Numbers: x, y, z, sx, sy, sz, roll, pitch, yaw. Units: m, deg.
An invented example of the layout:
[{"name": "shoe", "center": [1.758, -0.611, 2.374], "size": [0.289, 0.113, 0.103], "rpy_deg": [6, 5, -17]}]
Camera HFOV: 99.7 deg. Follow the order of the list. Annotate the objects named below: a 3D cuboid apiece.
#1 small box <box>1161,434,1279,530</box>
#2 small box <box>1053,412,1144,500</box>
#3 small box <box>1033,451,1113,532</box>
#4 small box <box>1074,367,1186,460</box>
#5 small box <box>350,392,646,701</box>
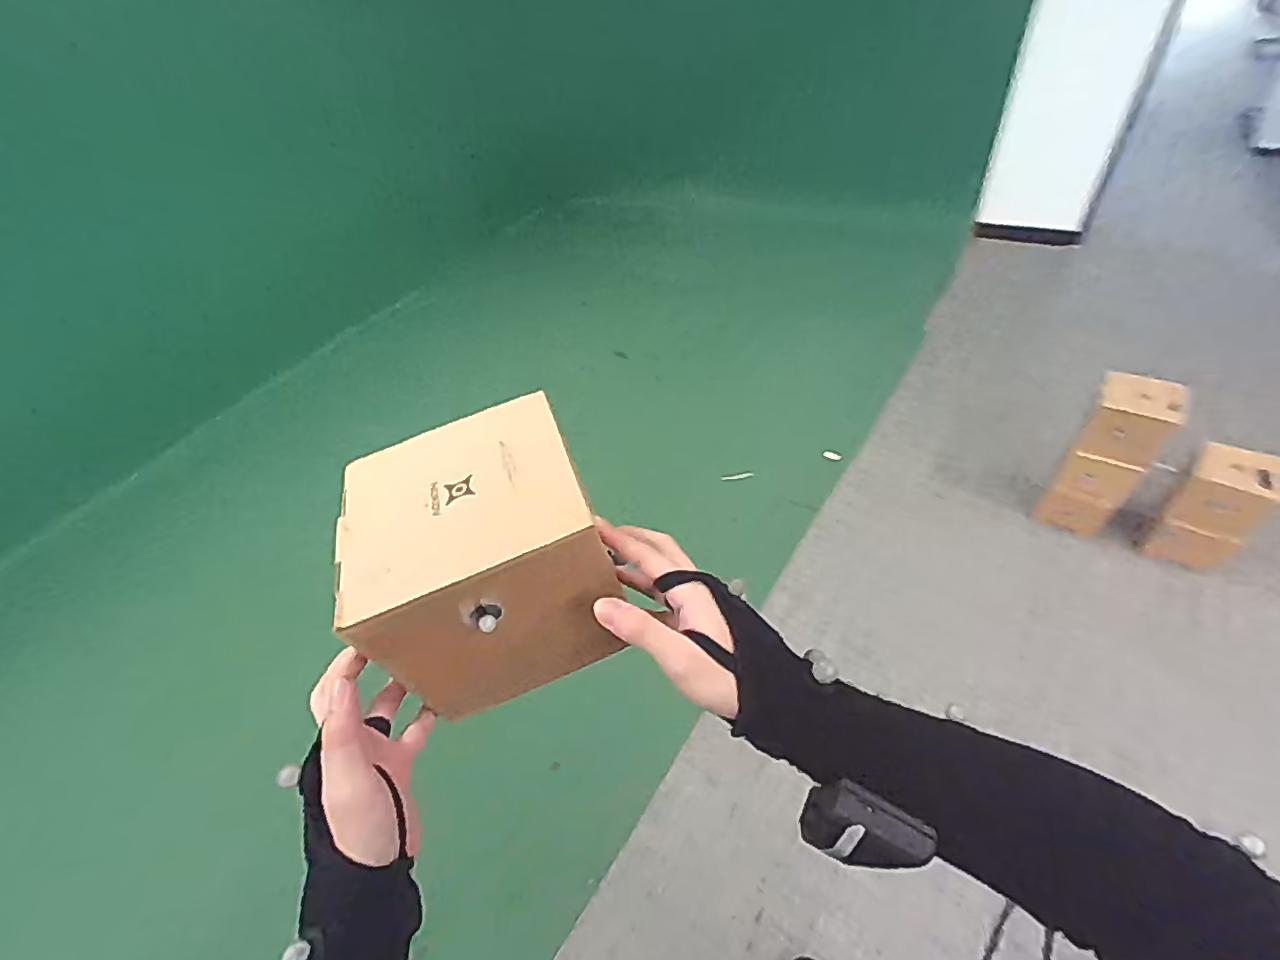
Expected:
[{"name": "small box", "center": [1.583, 0.011, 1.470], "size": [0.179, 0.176, 0.168], "rpy_deg": [25, 58, 32]}, {"name": "small box", "center": [1.359, -0.069, 1.599], "size": [0.168, 0.176, 0.179], "rpy_deg": [22, 57, 29]}, {"name": "small box", "center": [1.386, 0.036, 1.719], "size": [0.168, 0.176, 0.179], "rpy_deg": [25, 59, 30]}, {"name": "small box", "center": [1.333, -0.180, 1.480], "size": [0.179, 0.176, 0.168], "rpy_deg": [22, 58, 30]}, {"name": "small box", "center": [-0.112, 0.060, 0.464], "size": [0.179, 0.176, 0.168], "rpy_deg": [-21, 46, -4]}]
